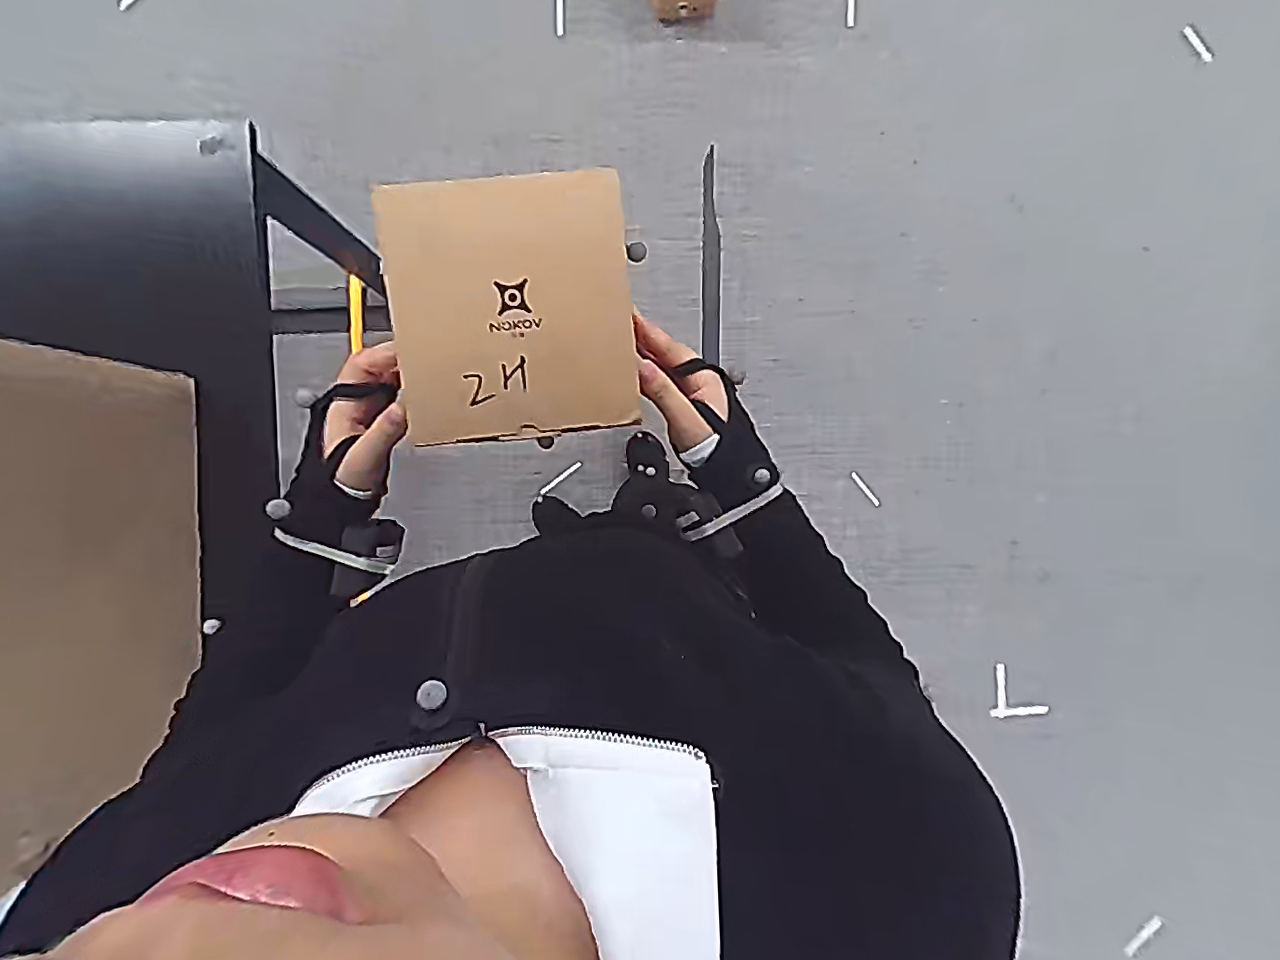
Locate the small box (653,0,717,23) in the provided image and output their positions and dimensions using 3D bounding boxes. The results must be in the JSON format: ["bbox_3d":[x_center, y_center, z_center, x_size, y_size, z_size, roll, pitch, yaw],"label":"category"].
[{"bbox_3d":[0.114,-1.331,1.386,0.168,0.176,0.179,-8,93,-2],"label":"small box"}]

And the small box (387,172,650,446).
[{"bbox_3d":[-0.085,-0.124,0.447,0.168,0.176,0.179,-5,97,-2],"label":"small box"}]
